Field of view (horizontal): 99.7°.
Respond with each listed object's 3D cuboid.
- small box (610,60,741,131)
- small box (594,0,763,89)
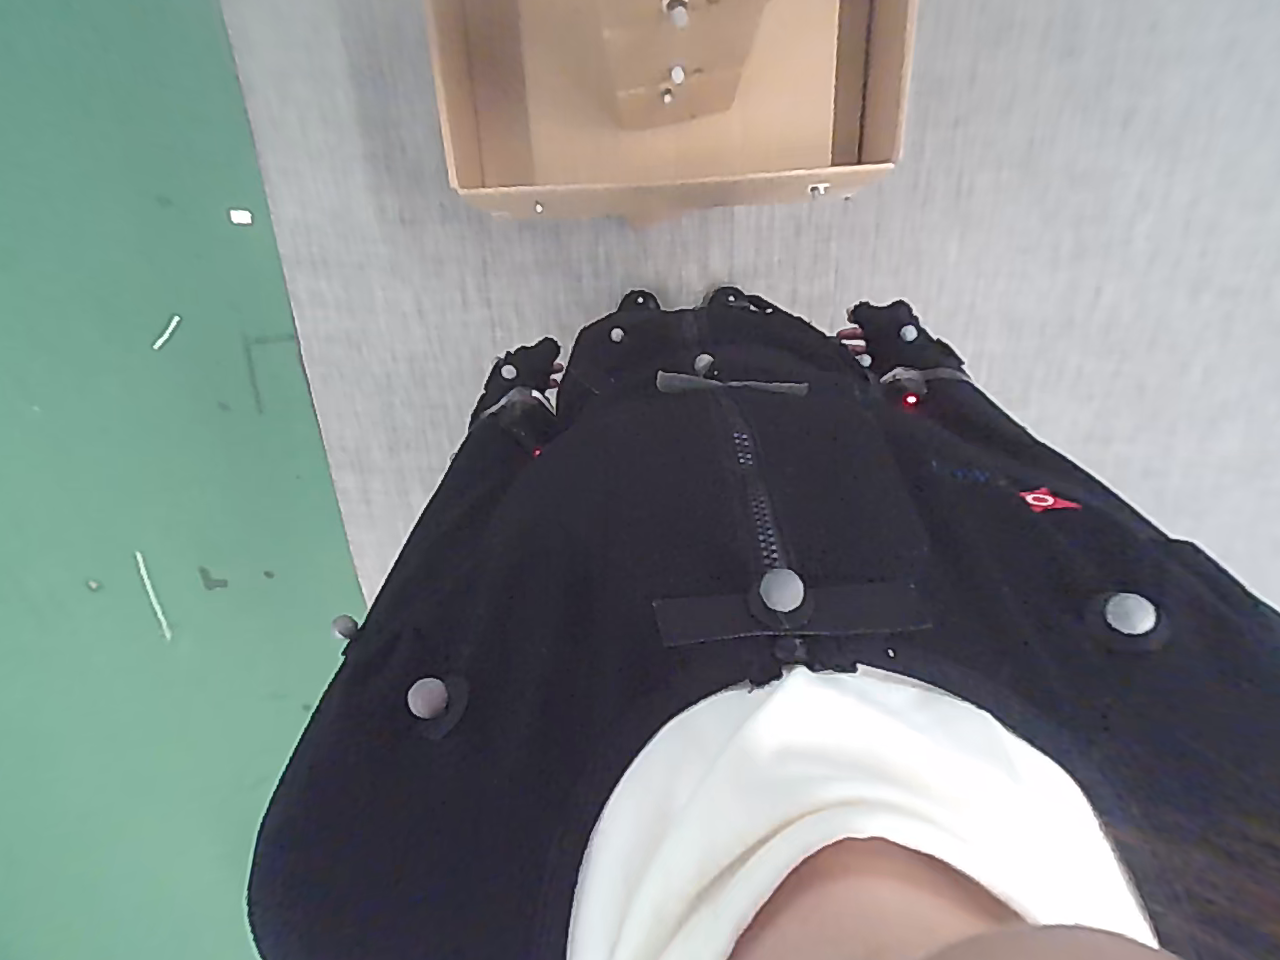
[{"bbox_3d":[0.038,-0.608,0.731,0.168,0.176,0.179,-8,108,7],"label":"small box"},{"bbox_3d":[0.031,-0.557,0.575,0.168,0.176,0.179,-7,109,6],"label":"small box"}]
